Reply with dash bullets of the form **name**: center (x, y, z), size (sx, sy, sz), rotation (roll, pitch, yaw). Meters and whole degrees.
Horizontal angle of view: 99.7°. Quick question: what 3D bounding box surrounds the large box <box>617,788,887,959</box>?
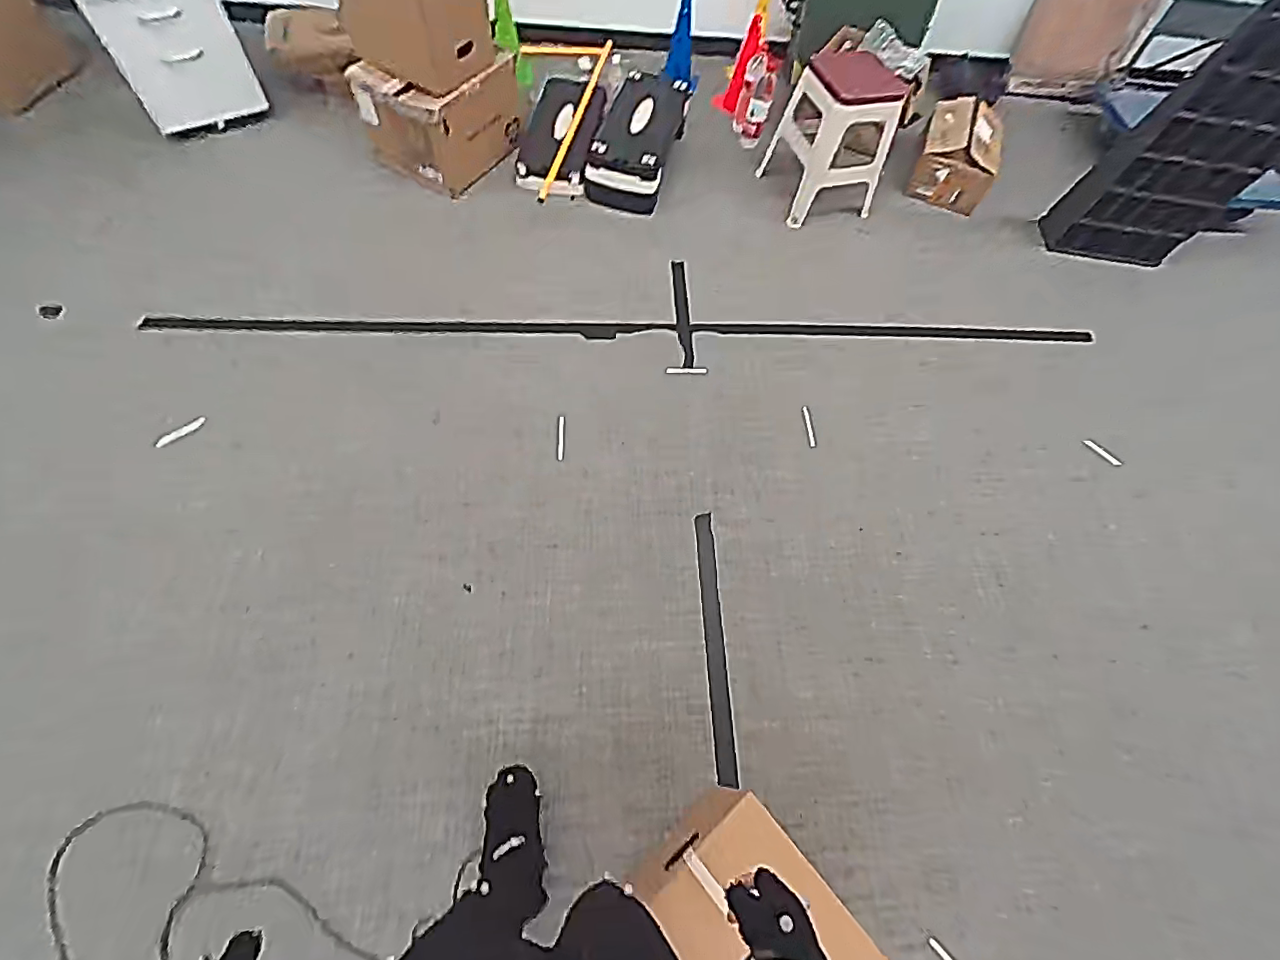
- **large box**: center (0.200, 0.869, 1.022), size (0.320, 0.320, 0.408), rotation (-36, 70, -22)
